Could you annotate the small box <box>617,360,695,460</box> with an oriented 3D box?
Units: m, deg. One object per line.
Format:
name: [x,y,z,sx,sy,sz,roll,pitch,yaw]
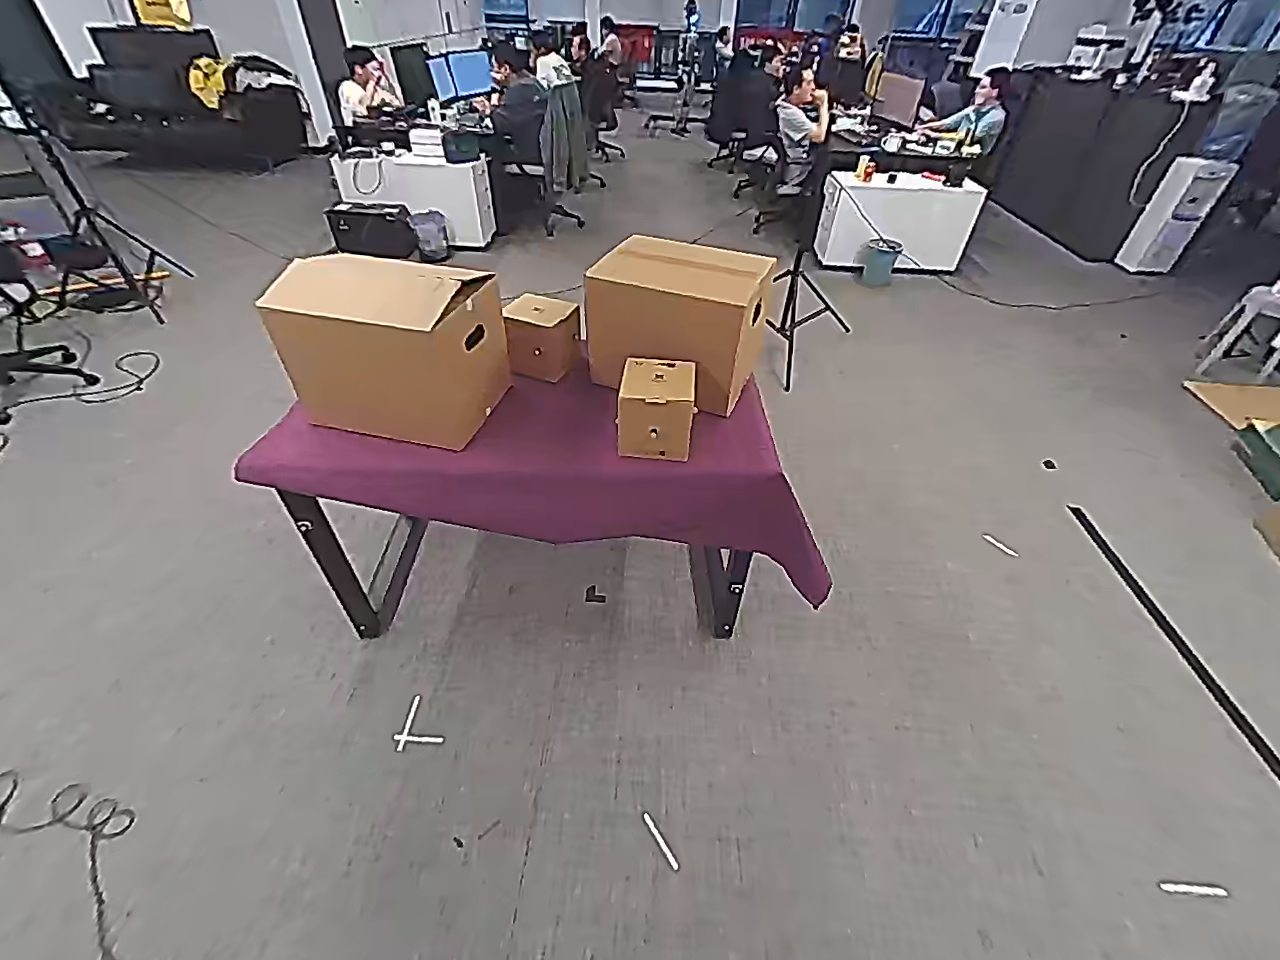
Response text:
small box: [0.040,-0.165,1.278,0.168,0.176,0.179,5,42,3]
